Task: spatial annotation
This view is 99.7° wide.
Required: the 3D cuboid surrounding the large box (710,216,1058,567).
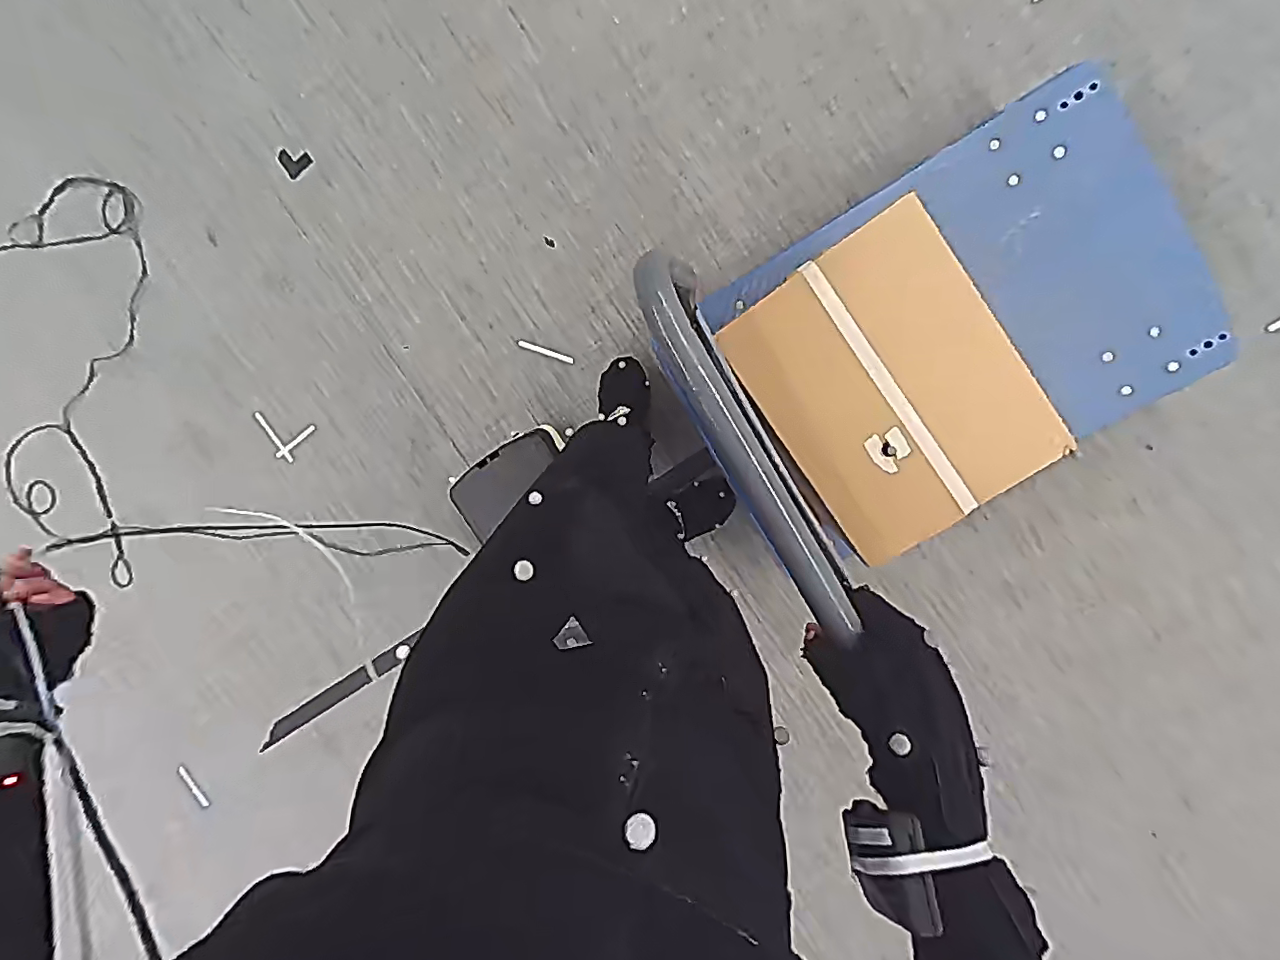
[{"bbox_3d":[0.356,-0.136,0.905,0.320,0.320,0.408,-34,94,11],"label":"large box"}]
